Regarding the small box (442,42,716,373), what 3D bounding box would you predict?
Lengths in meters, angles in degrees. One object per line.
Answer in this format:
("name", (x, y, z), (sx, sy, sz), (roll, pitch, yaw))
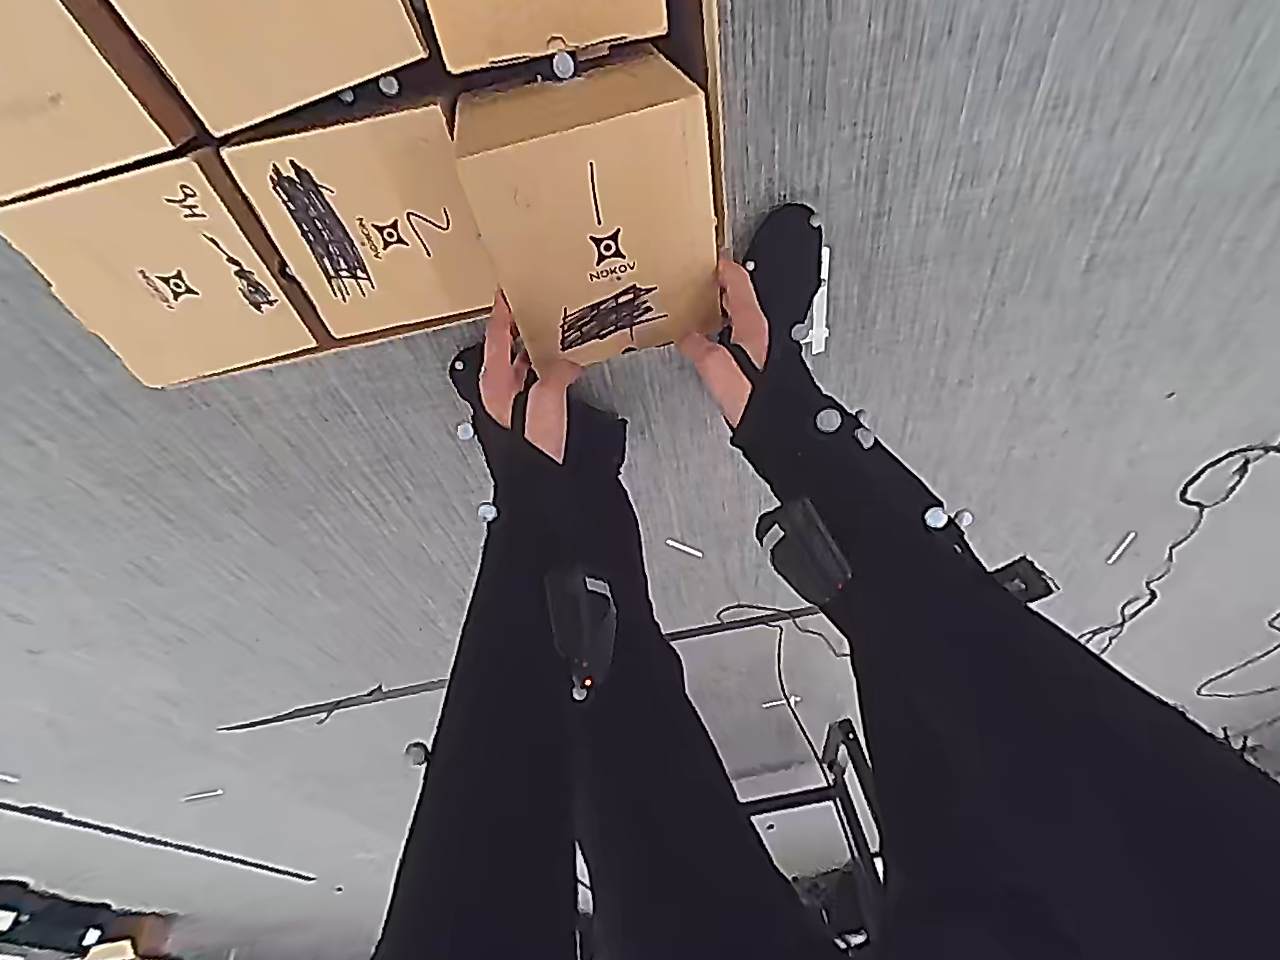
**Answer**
("small box", (-0.044, -0.222, 0.444), (0.168, 0.176, 0.179), (-16, 137, -1))
